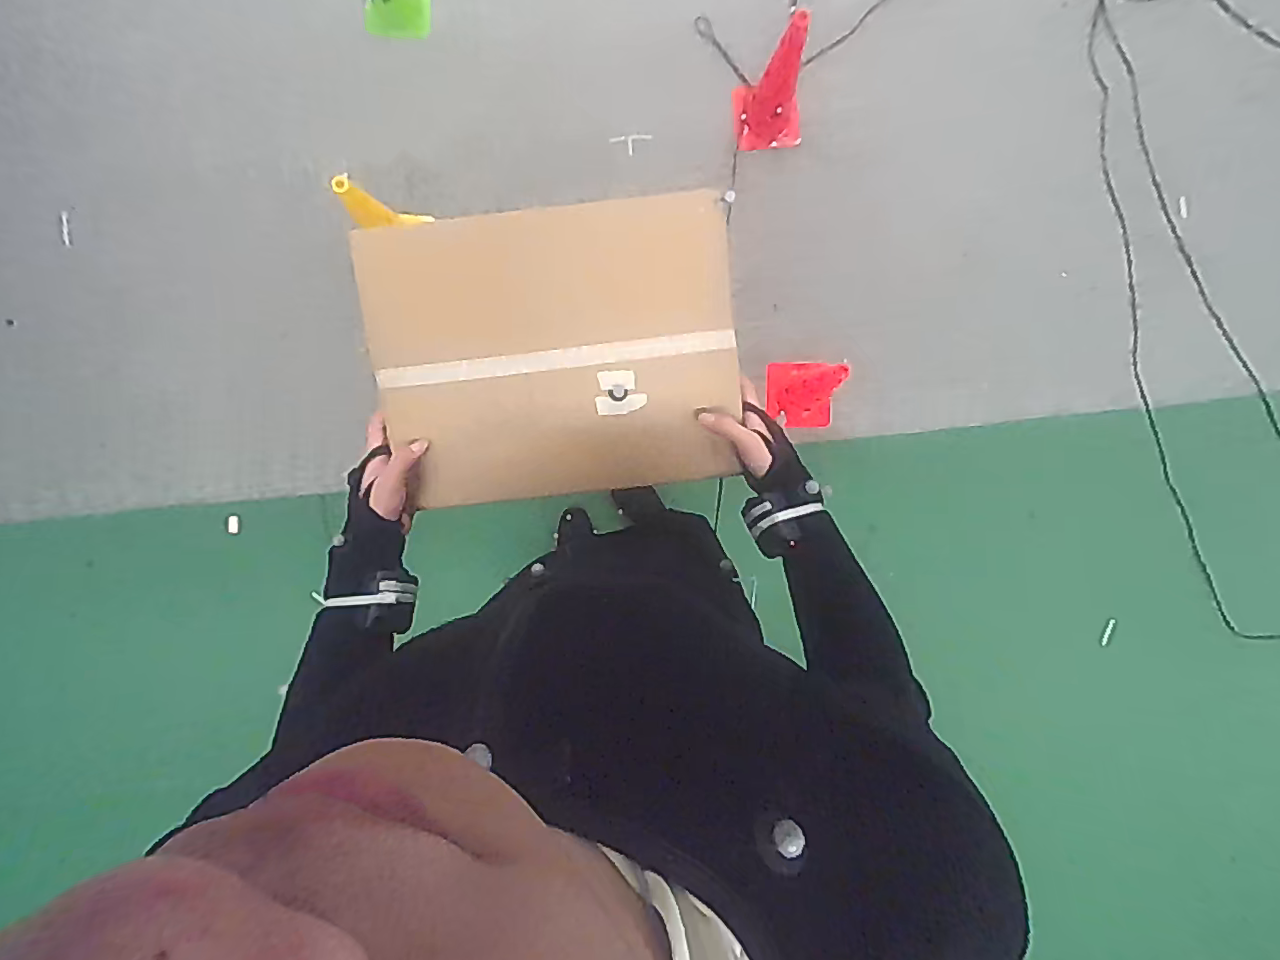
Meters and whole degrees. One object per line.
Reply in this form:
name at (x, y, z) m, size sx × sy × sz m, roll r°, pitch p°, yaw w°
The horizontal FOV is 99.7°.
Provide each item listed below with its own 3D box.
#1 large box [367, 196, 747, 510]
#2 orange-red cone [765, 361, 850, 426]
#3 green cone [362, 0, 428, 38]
large box at (-0.091, -0.163, 0.763) m, size 0.408 × 0.320 × 0.320 m, roll -6°, pitch 101°, yaw 0°
orange-red cone at (0.492, -0.266, 1.493) m, size 0.199 × 0.360 × 0.198 m, roll 1°, pitch 90°, yaw -2°
green cone at (-0.751, -1.458, 1.486) m, size 0.200 × 0.368 × 0.202 m, roll 0°, pitch 91°, yaw -1°
